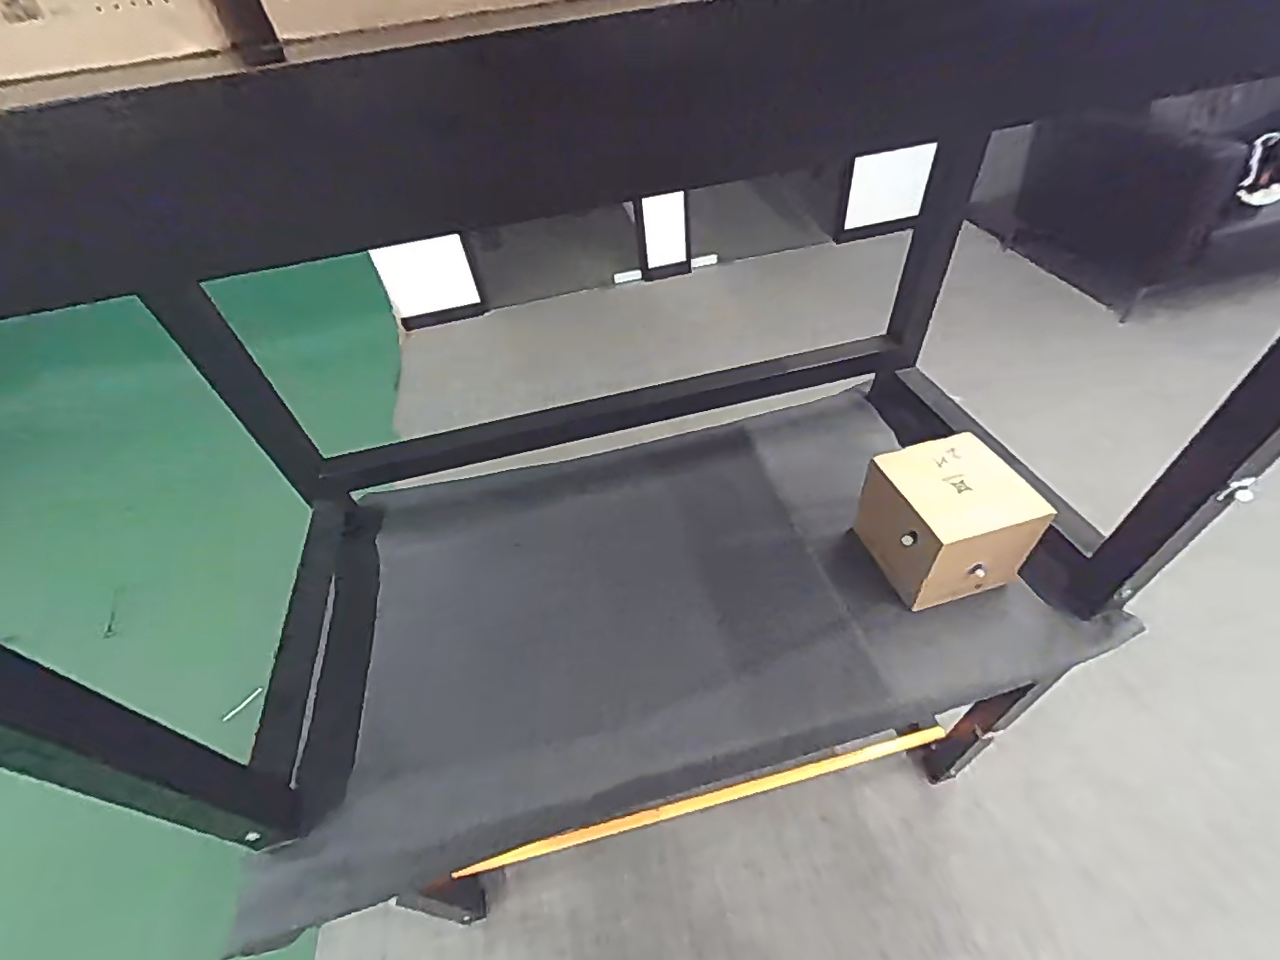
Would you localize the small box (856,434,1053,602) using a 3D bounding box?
[{"bbox_3d":[0.454,0.063,0.815,0.168,0.176,0.179,-14,45,-6],"label":"small box"}]
